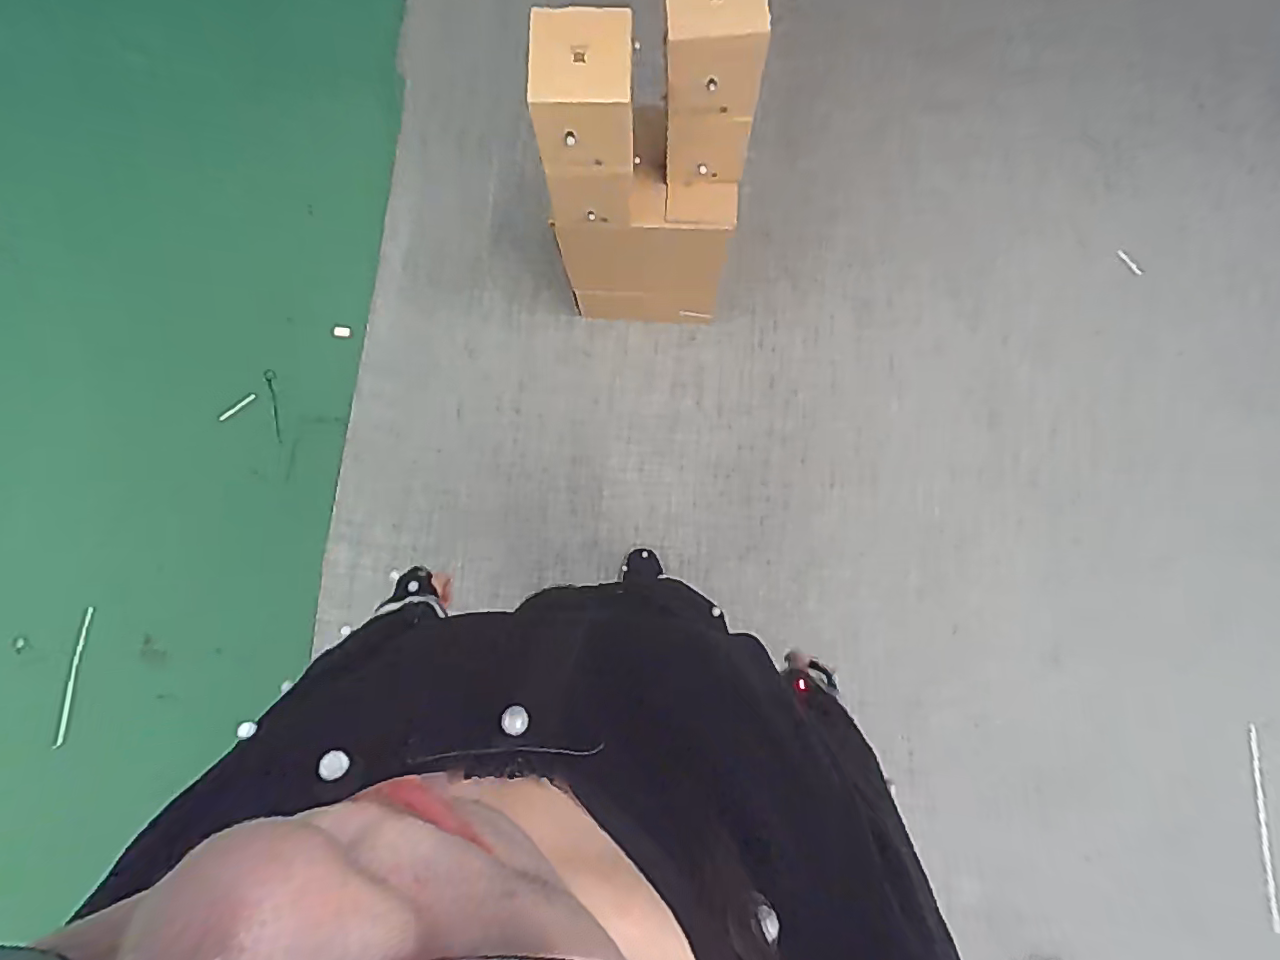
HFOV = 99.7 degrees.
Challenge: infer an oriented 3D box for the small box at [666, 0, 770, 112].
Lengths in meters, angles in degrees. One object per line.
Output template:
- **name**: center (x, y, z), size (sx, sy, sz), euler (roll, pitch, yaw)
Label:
- **small box**: center (0.130, -0.787, 0.959), size (0.168, 0.176, 0.179), euler (-2, 81, 2)

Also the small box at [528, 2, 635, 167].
- **small box**: center (-0.095, -0.682, 0.950), size (0.168, 0.176, 0.179), euler (1, 84, 0)
